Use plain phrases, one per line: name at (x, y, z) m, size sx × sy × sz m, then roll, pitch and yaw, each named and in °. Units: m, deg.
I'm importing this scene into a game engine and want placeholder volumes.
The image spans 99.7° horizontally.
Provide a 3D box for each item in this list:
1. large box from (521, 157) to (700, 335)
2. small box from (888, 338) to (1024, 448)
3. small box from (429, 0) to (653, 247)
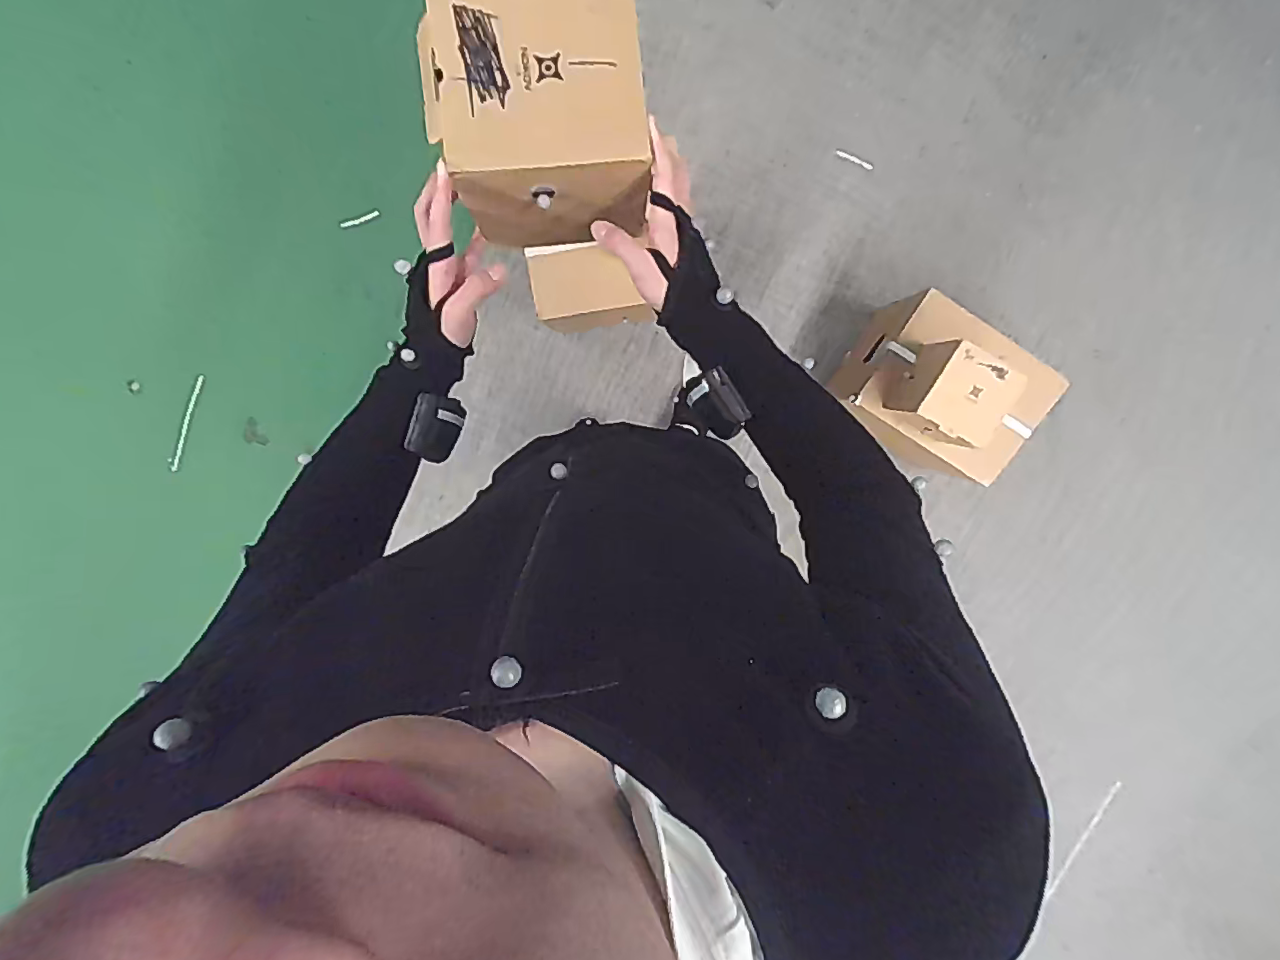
large box at (-0.072, -0.576, 1.400) m, size 0.408 × 0.320 × 0.320 m, roll -9°, pitch 98°, yaw 3°
small box at (0.683, -0.193, 1.199) m, size 0.168 × 0.176 × 0.179 m, roll 29°, pitch 100°, yaw -4°
small box at (-0.085, -0.345, 0.532) m, size 0.179 × 0.176 × 0.168 m, roll -6°, pitch 93°, yaw -3°
